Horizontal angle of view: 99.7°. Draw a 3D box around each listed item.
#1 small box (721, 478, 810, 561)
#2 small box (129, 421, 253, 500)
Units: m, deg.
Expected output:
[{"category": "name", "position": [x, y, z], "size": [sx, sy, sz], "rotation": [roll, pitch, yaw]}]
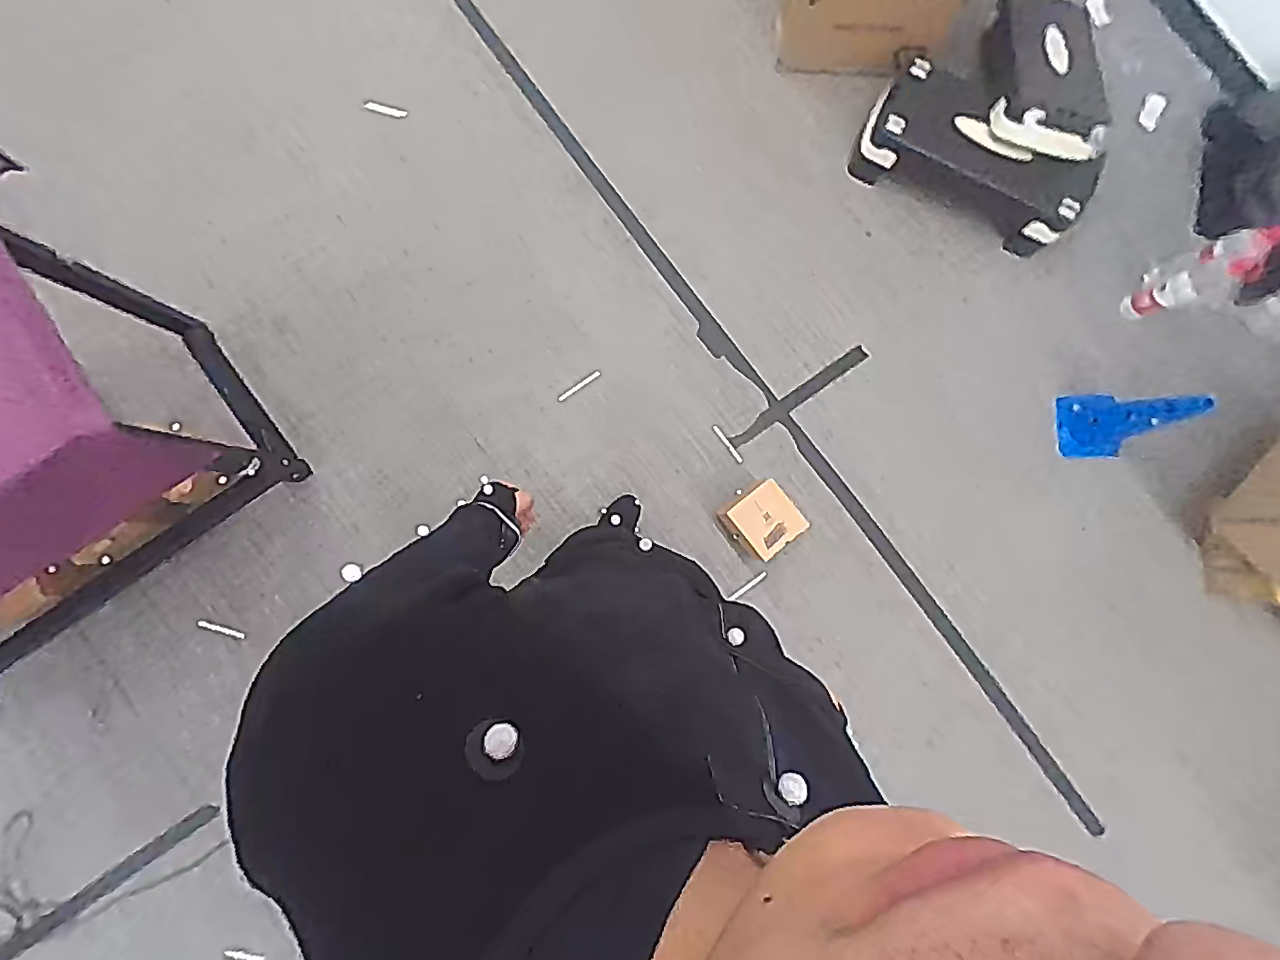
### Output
[{"category": "small box", "position": [0.359, 0.113, 1.580], "size": [0.168, 0.176, 0.179], "rotation": [-38, 87, -4]}, {"category": "small box", "position": [-1.274, -0.047, 1.546], "size": [0.179, 0.176, 0.168], "rotation": [25, 86, 1]}]
